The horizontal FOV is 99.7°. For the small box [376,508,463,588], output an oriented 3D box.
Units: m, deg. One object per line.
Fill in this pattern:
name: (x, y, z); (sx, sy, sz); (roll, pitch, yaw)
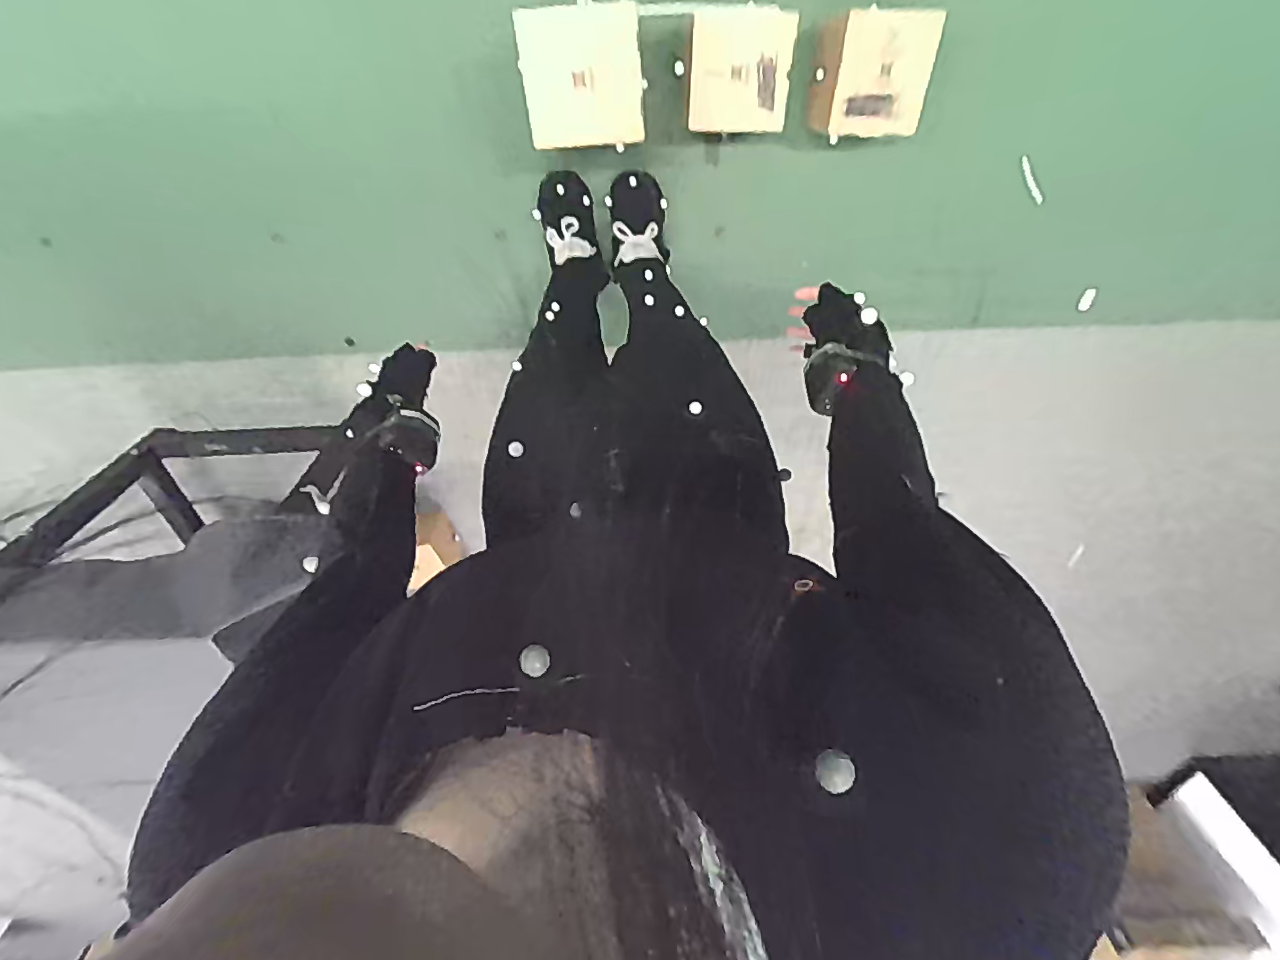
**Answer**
small box: (-0.679, 0.210, 1.688); (0.179, 0.176, 0.168); (-12, 128, 7)

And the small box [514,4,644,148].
small box: (-0.086, -0.633, 0.856); (0.179, 0.176, 0.168); (-4, 127, 1)
